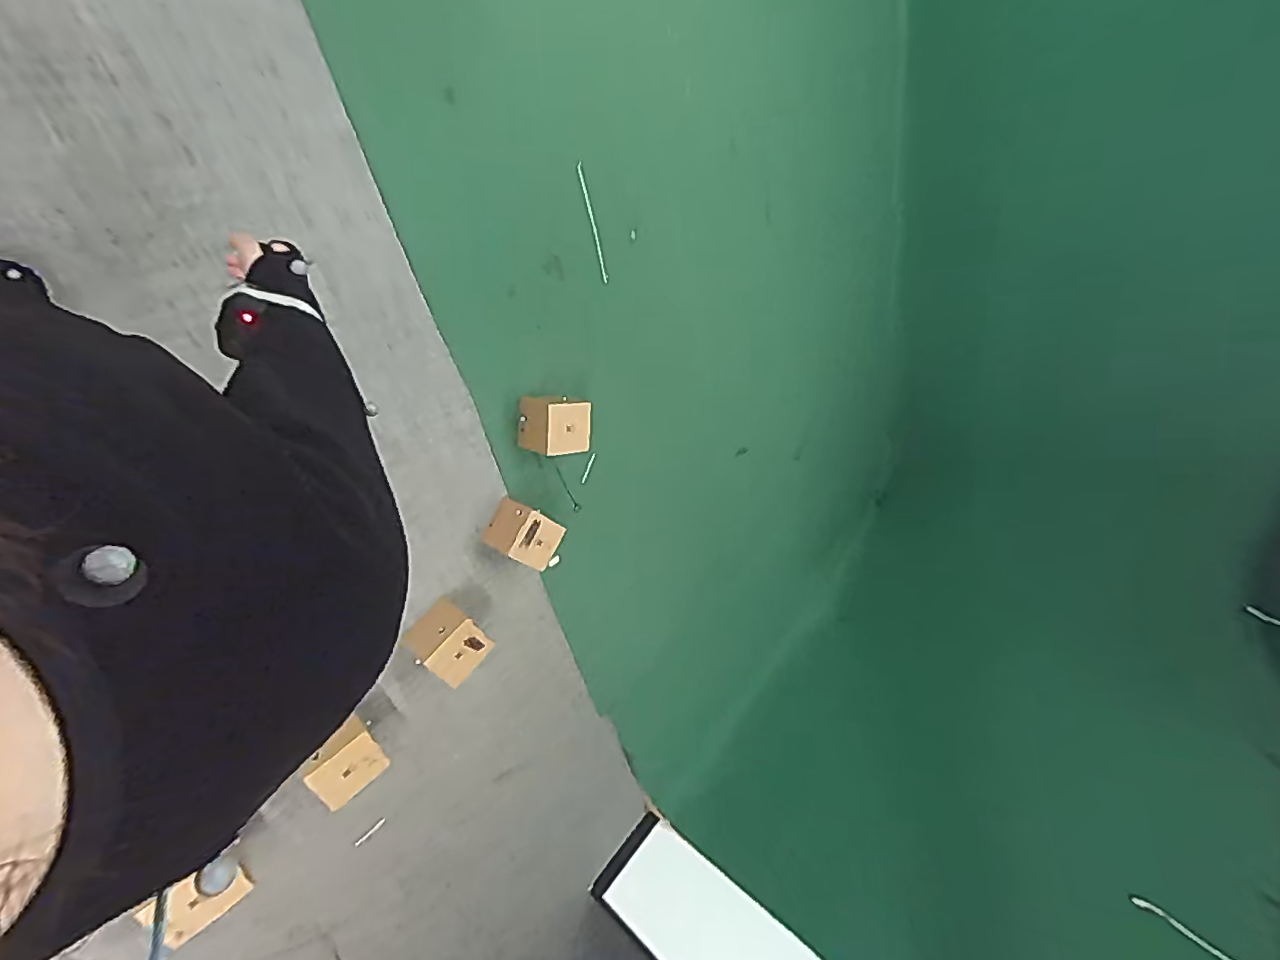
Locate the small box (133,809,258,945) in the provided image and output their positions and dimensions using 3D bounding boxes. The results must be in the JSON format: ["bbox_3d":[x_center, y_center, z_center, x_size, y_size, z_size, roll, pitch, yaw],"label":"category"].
[{"bbox_3d":[-1.093,0.963,1.330,0.179,0.176,0.168,-32,125,-37],"label":"small box"}]

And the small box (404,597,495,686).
[{"bbox_3d":[-0.600,0.499,1.696,0.179,0.176,0.168,-47,133,-24],"label":"small box"}]

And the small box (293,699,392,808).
[{"bbox_3d":[-0.845,0.764,1.526,0.179,0.176,0.168,-37,129,-33],"label":"small box"}]

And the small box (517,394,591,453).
[{"bbox_3d":[-0.285,-0.193,1.794,0.179,0.176,0.168,-11,111,-45],"label":"small box"}]
